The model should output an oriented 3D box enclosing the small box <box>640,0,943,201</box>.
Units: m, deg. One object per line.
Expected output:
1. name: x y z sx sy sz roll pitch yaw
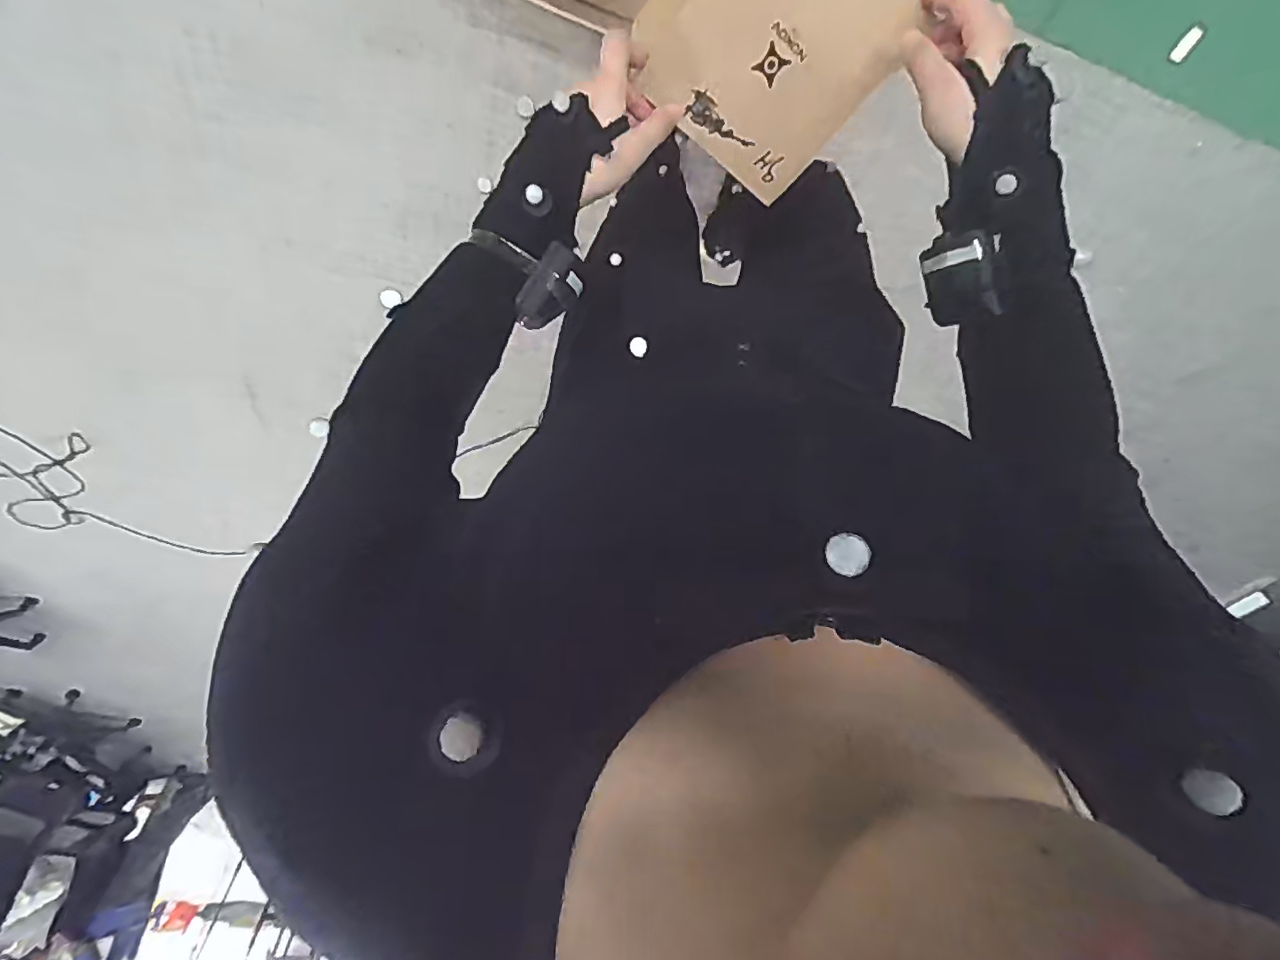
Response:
1. small box: 0.111 -0.396 0.466 0.168 0.176 0.179 26 134 -28
